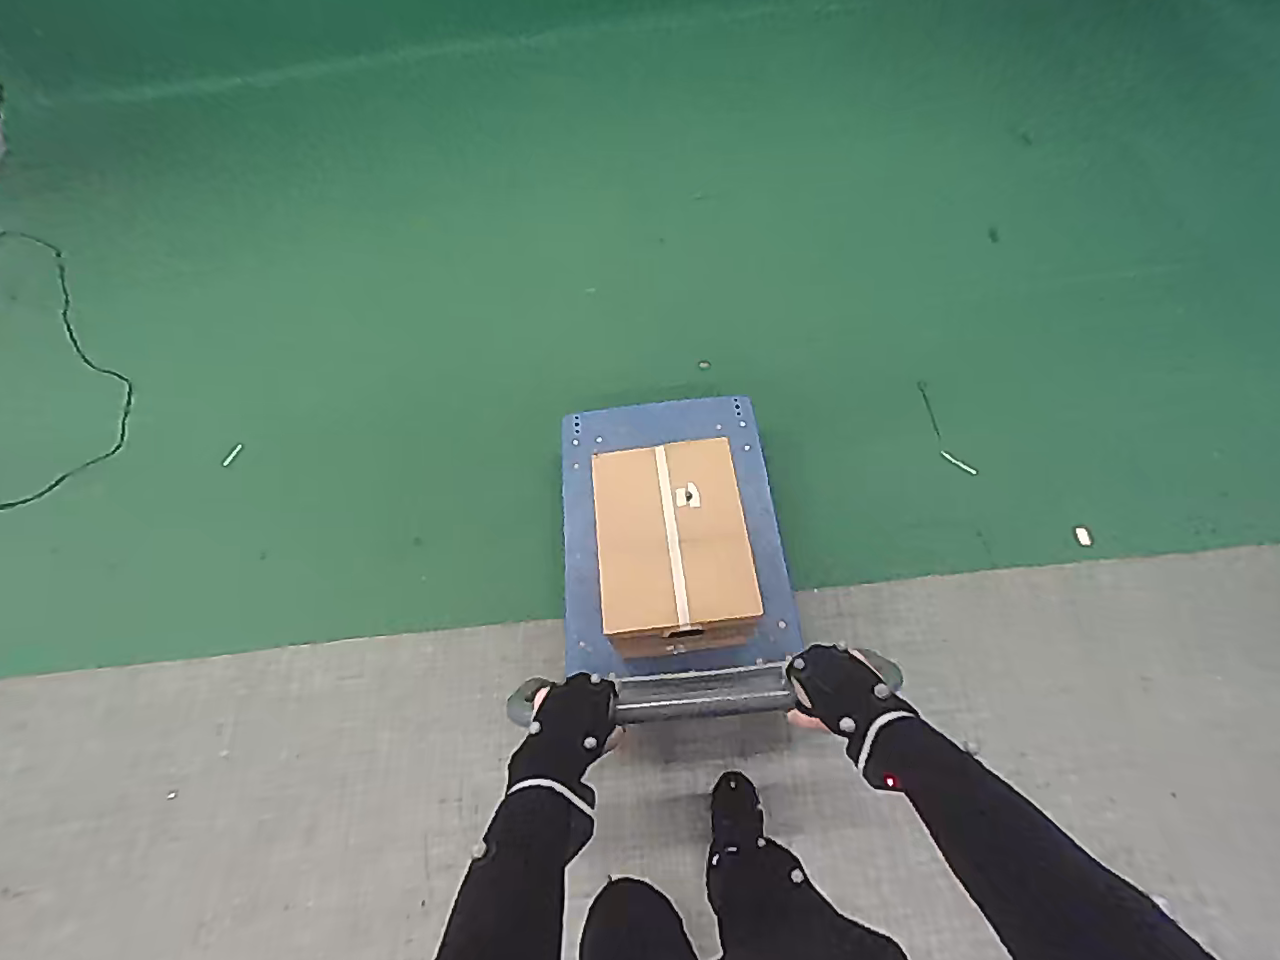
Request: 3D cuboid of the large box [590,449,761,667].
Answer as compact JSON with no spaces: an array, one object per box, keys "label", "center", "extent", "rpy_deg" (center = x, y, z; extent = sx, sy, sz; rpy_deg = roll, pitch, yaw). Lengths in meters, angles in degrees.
[{"label":"large box","center":[0.074,0.191,1.267],"extent":[0.320,0.320,0.408],"rpy_deg":[-7,62,1]}]
